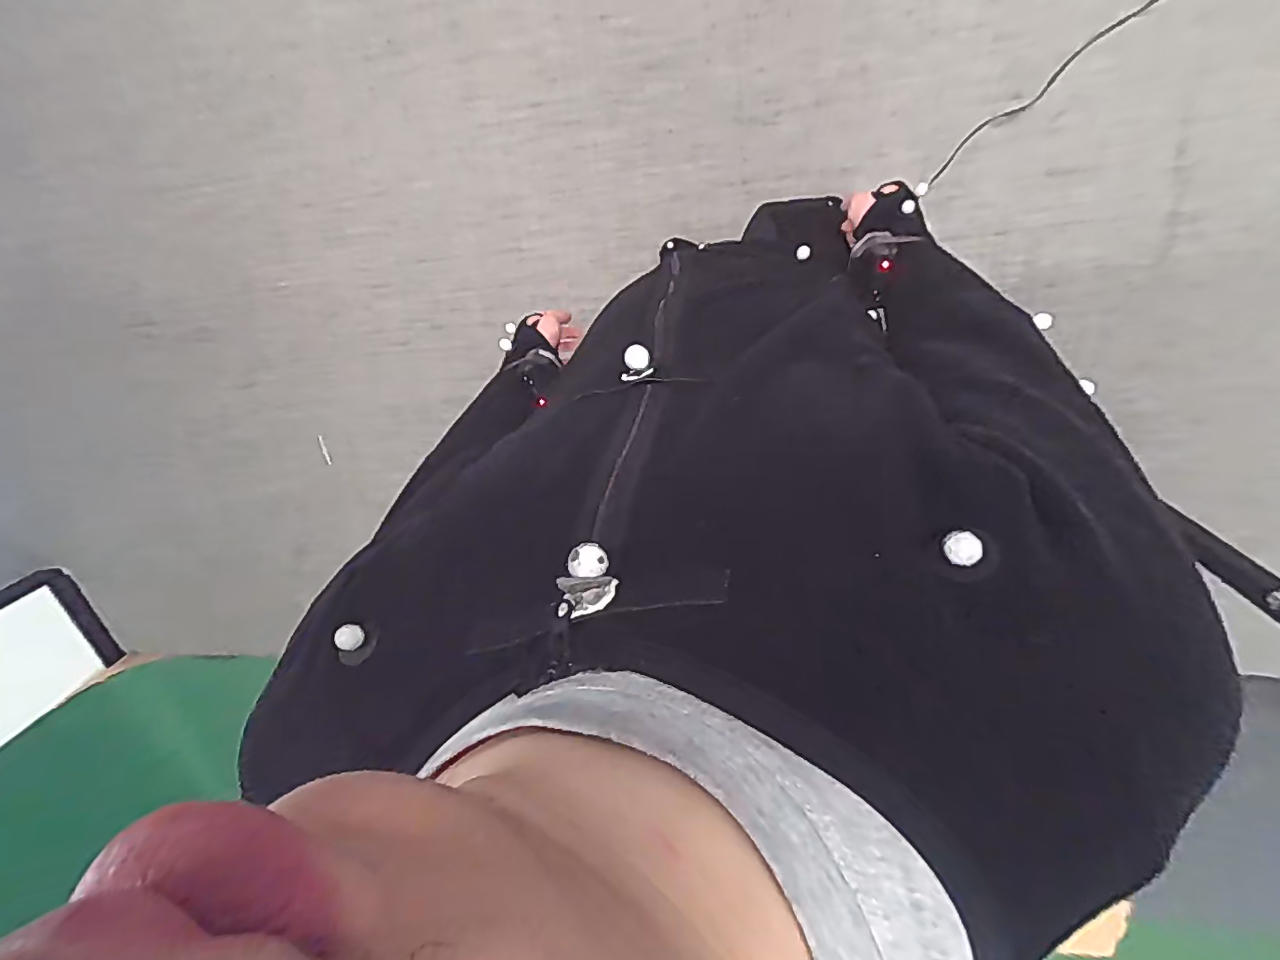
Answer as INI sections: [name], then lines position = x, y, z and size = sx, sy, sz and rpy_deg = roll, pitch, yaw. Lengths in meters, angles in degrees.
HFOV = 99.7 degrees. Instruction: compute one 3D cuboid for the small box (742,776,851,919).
[small box]
position = 0.297, 0.715, 1.065
size = 0.179, 0.176, 0.168
rpy_deg = 2, 116, 8
